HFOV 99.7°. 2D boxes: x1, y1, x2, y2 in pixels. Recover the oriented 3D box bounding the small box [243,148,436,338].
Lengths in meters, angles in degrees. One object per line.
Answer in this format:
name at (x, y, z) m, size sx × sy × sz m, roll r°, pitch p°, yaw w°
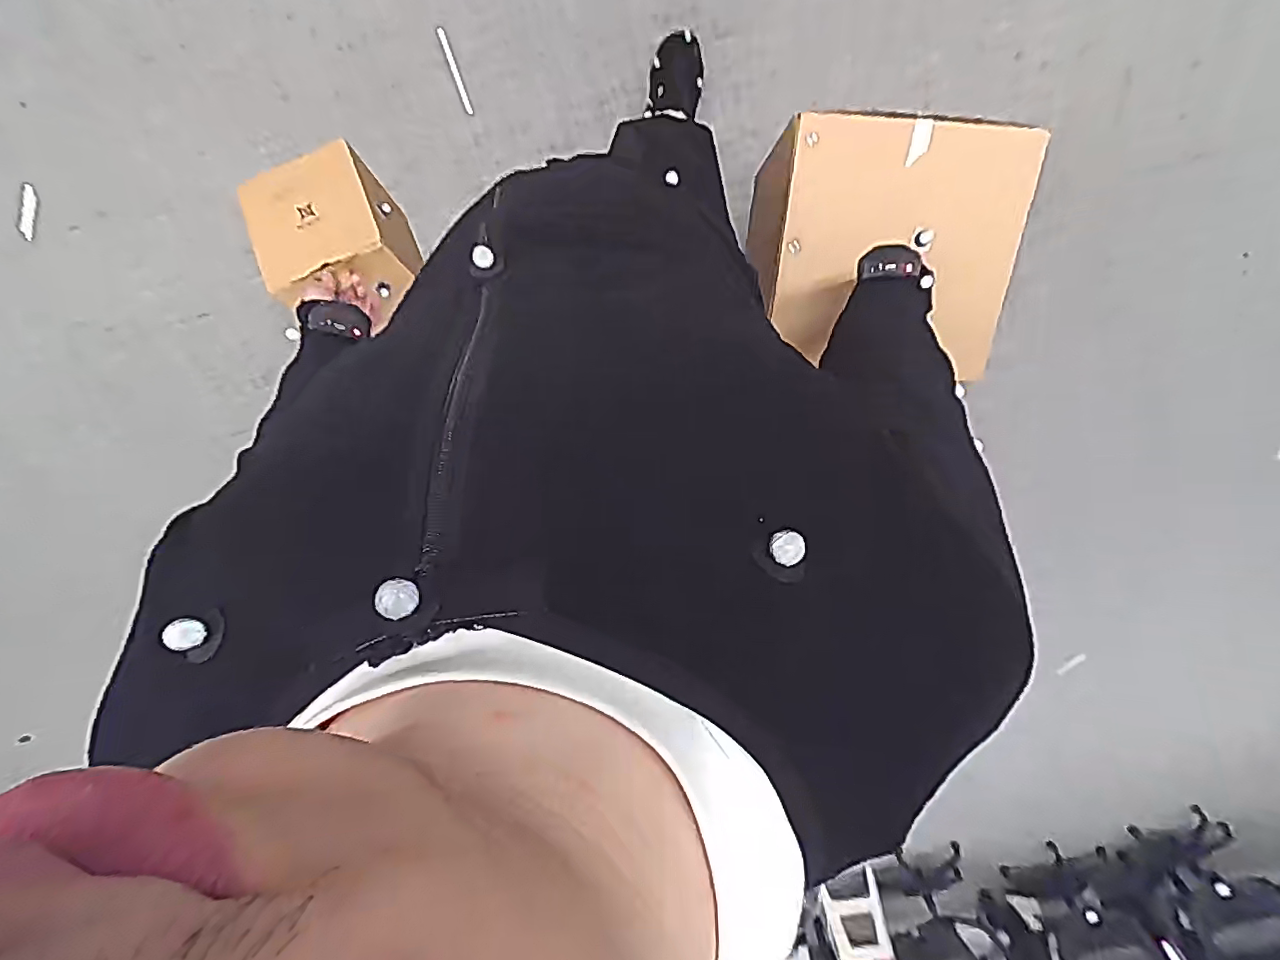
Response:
small box at (-0.433, -0.335, 0.806) m, size 0.168 × 0.176 × 0.179 m, roll -24°, pitch 78°, yaw 0°
